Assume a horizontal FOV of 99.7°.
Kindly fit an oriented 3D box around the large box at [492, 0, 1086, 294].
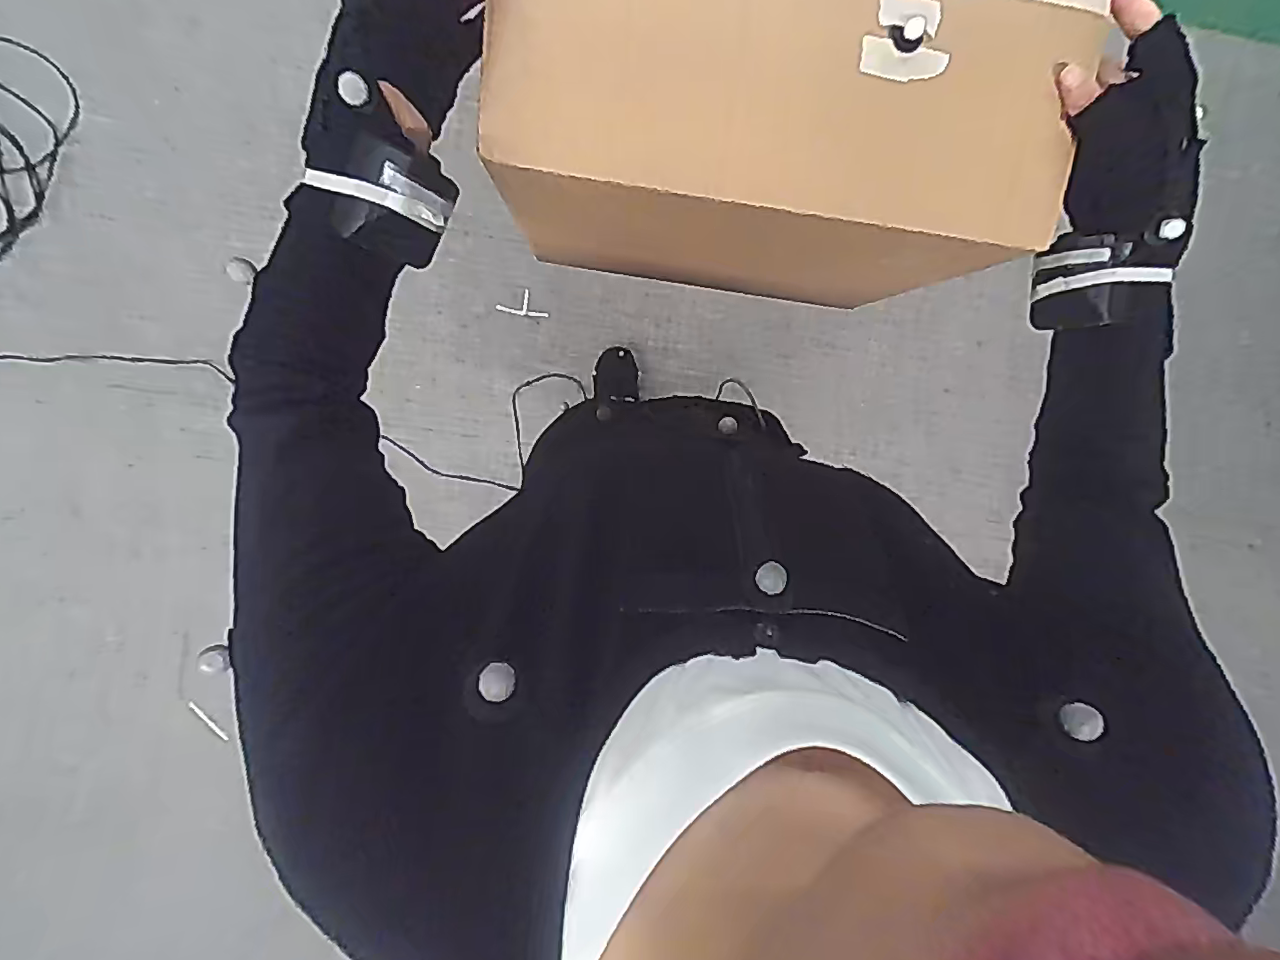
[{"bbox_3d":[0.099,-0.376,0.503,0.408,0.320,0.320,6,101,-5],"label":"large box"}]
